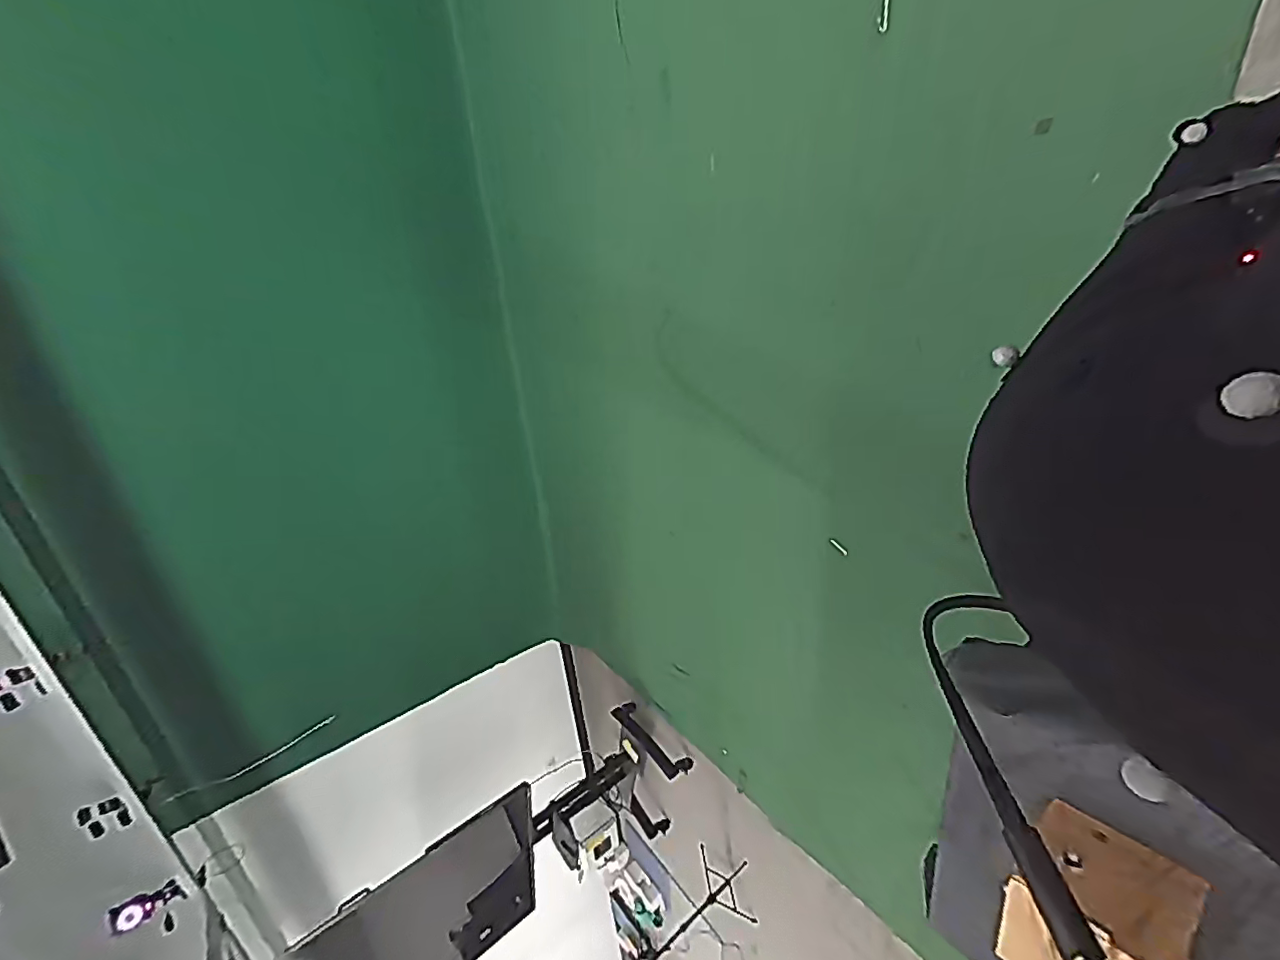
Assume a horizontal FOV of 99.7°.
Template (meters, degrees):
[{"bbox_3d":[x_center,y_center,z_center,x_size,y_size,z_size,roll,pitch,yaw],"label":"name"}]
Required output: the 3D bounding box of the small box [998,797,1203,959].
[{"bbox_3d":[0.619,0.584,0.733,0.168,0.176,0.179,20,126,51],"label":"small box"}]
